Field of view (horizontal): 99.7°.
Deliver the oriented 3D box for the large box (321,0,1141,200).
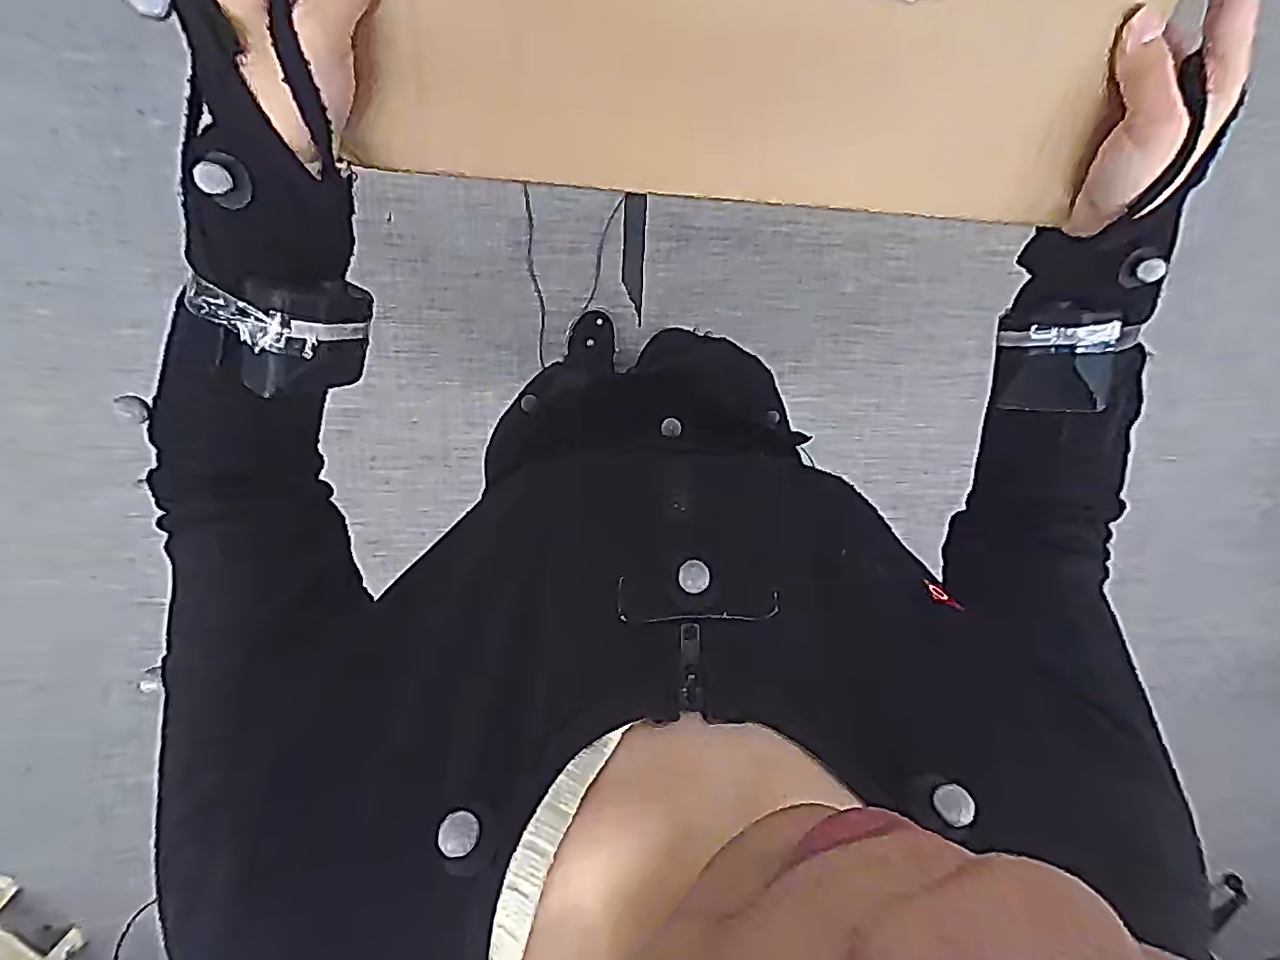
[{"bbox_3d":[0.042,-0.376,0.335,0.408,0.320,0.320,1,126,-7],"label":"large box"}]
